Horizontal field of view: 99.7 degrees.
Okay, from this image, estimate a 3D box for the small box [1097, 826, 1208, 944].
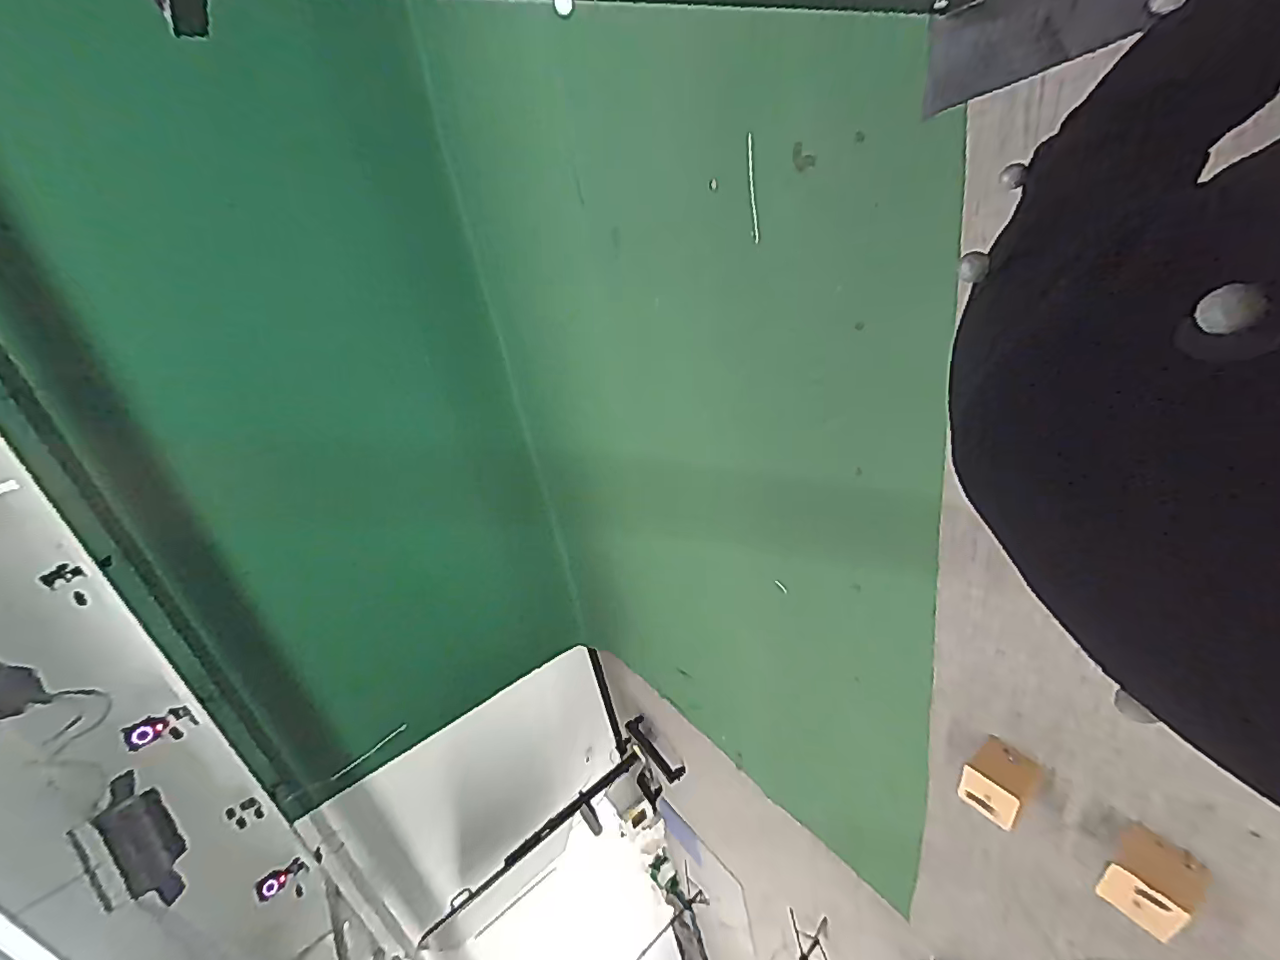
[{"bbox_3d":[1.429,1.120,1.506,0.168,0.176,0.179,31,138,46],"label":"small box"}]
